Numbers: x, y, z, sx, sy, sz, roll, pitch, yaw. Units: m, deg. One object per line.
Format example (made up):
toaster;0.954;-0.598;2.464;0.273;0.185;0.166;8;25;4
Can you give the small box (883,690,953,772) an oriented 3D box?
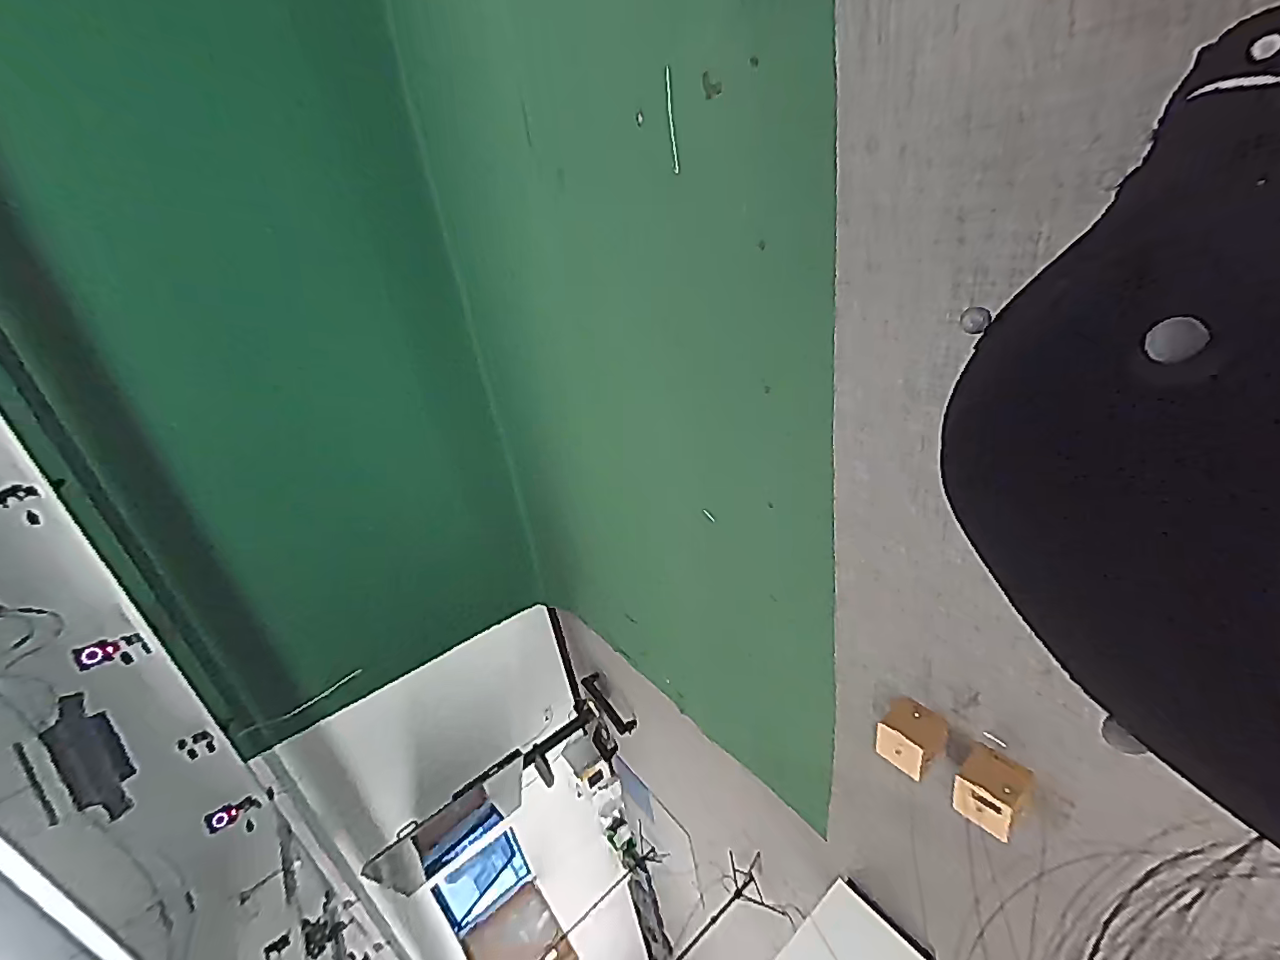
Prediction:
small box;1.020;0.916;1.984;0.168;0.176;0.179;25;131;49
